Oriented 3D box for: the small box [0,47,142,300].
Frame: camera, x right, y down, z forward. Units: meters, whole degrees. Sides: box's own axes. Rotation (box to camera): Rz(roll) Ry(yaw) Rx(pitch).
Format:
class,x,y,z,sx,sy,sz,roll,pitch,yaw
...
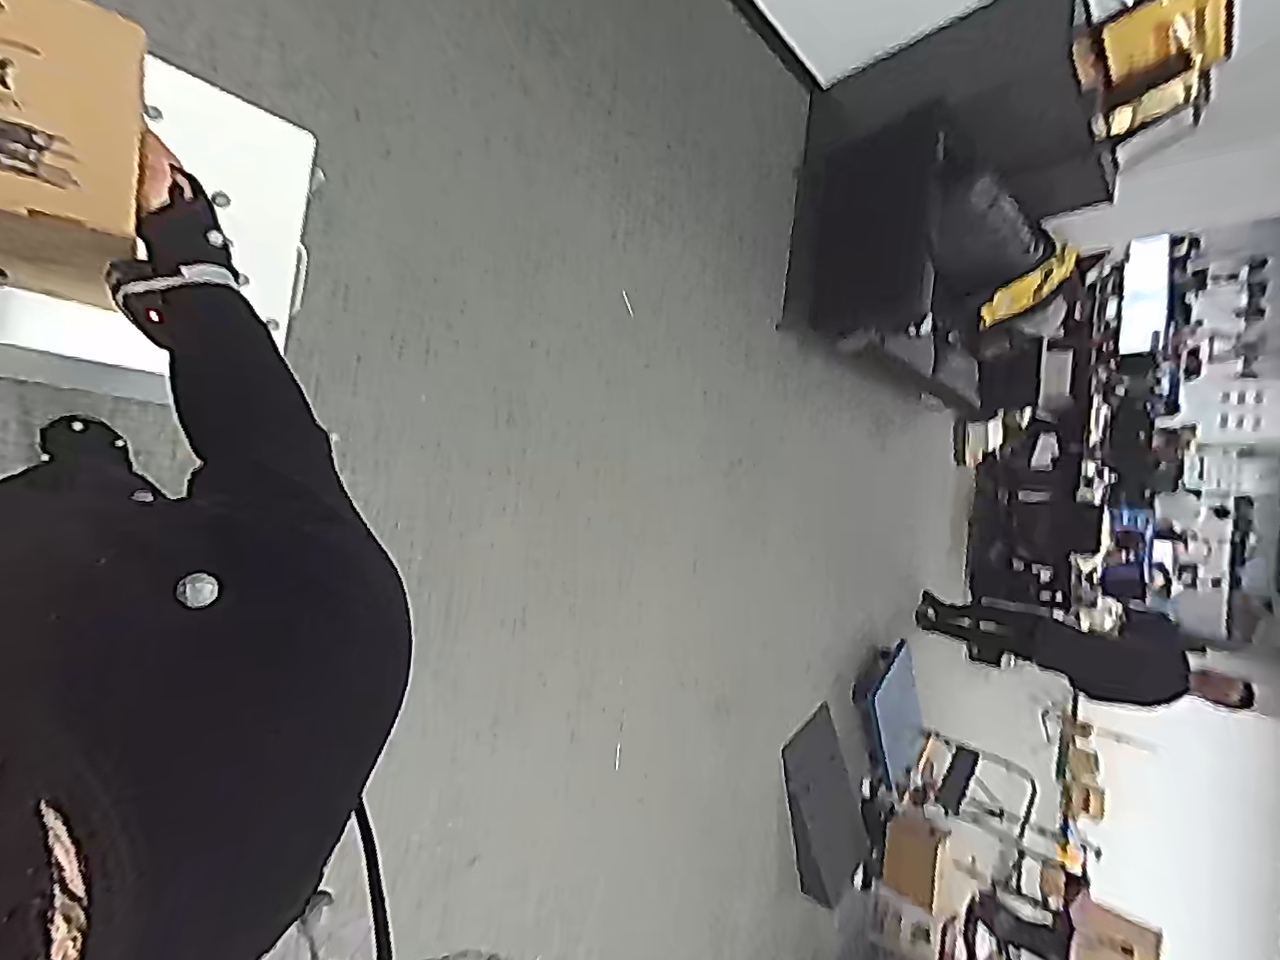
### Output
class,x,y,z,sx,sy,sz,roll,pitch,yaw
small box,-0.633,-0.306,0.549,0.168,0.176,0.179,9,86,-44
